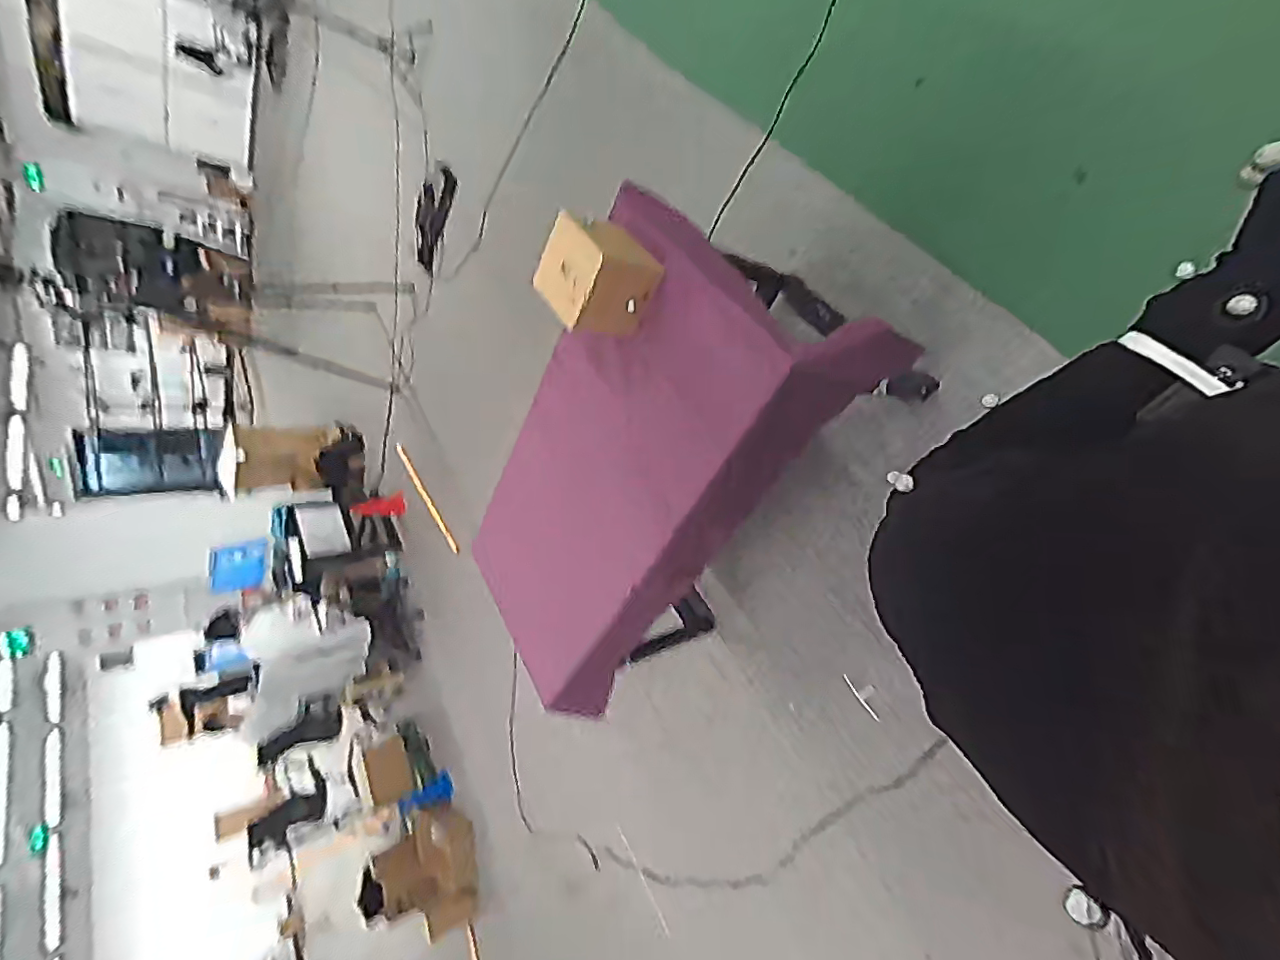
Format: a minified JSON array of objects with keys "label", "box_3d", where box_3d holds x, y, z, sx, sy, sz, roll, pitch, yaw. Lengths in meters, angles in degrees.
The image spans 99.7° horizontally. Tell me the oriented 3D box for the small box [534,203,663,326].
[{"label":"small box","box_3d":[-0.086,-0.438,1.126,0.179,0.176,0.168,54,130,25]}]
